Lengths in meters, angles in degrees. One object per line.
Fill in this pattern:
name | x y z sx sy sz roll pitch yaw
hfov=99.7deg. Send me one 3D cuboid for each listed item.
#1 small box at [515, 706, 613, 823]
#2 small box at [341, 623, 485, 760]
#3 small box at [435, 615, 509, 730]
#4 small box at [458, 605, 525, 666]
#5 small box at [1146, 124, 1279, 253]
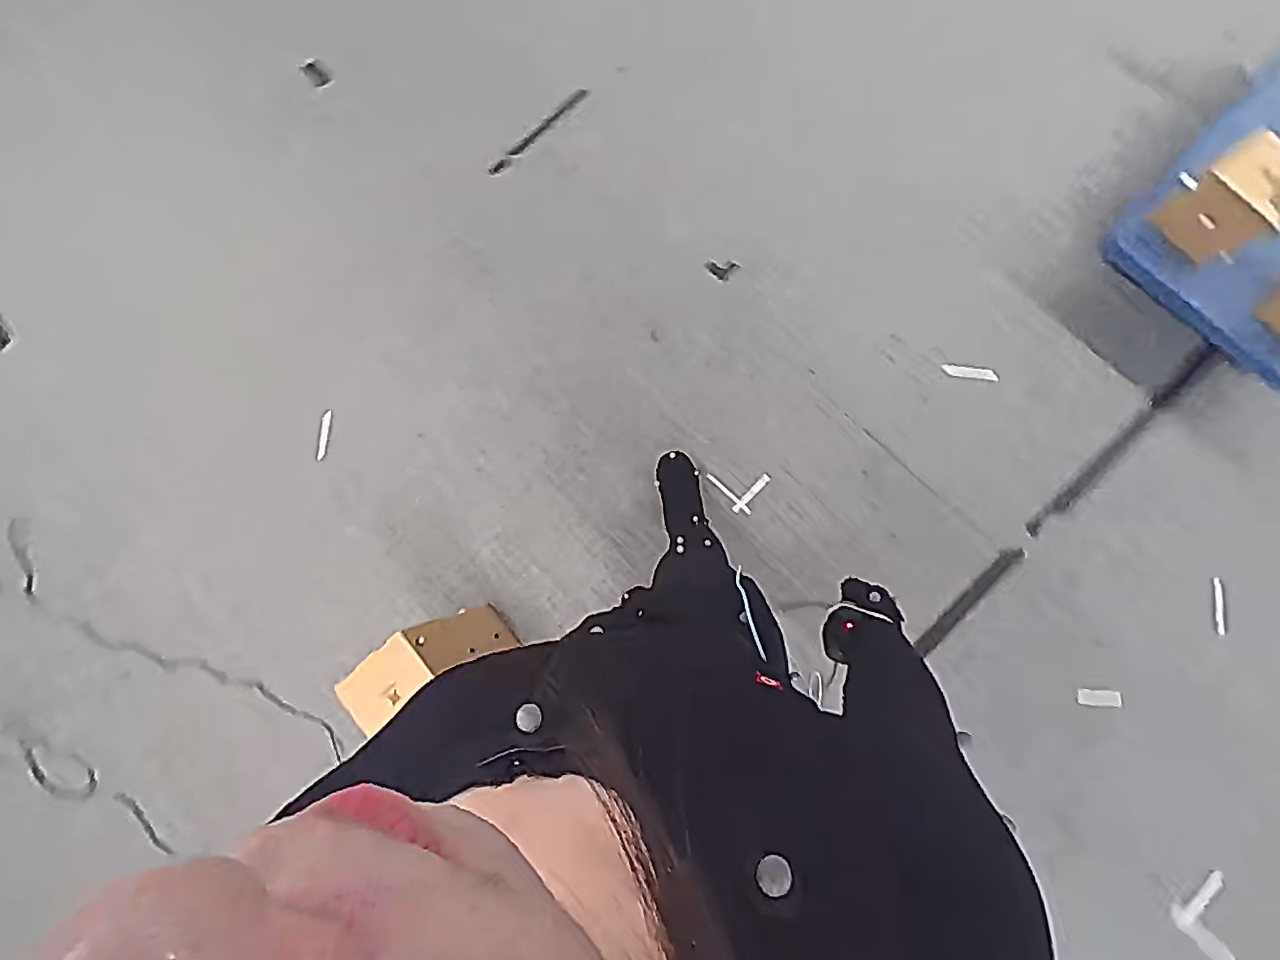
small box | -0.183 0.709 1.373 0.179 0.176 0.168 -39 82 -1
small box | -0.446 0.413 1.093 0.168 0.176 0.179 -43 82 -1
small box | -0.433 0.434 1.254 0.168 0.176 0.179 -40 82 -2
small box | -0.430 0.448 1.419 0.168 0.176 0.179 -42 83 -2
small box | 1.361 -0.661 1.255 0.168 0.176 0.179 -41 82 -3
